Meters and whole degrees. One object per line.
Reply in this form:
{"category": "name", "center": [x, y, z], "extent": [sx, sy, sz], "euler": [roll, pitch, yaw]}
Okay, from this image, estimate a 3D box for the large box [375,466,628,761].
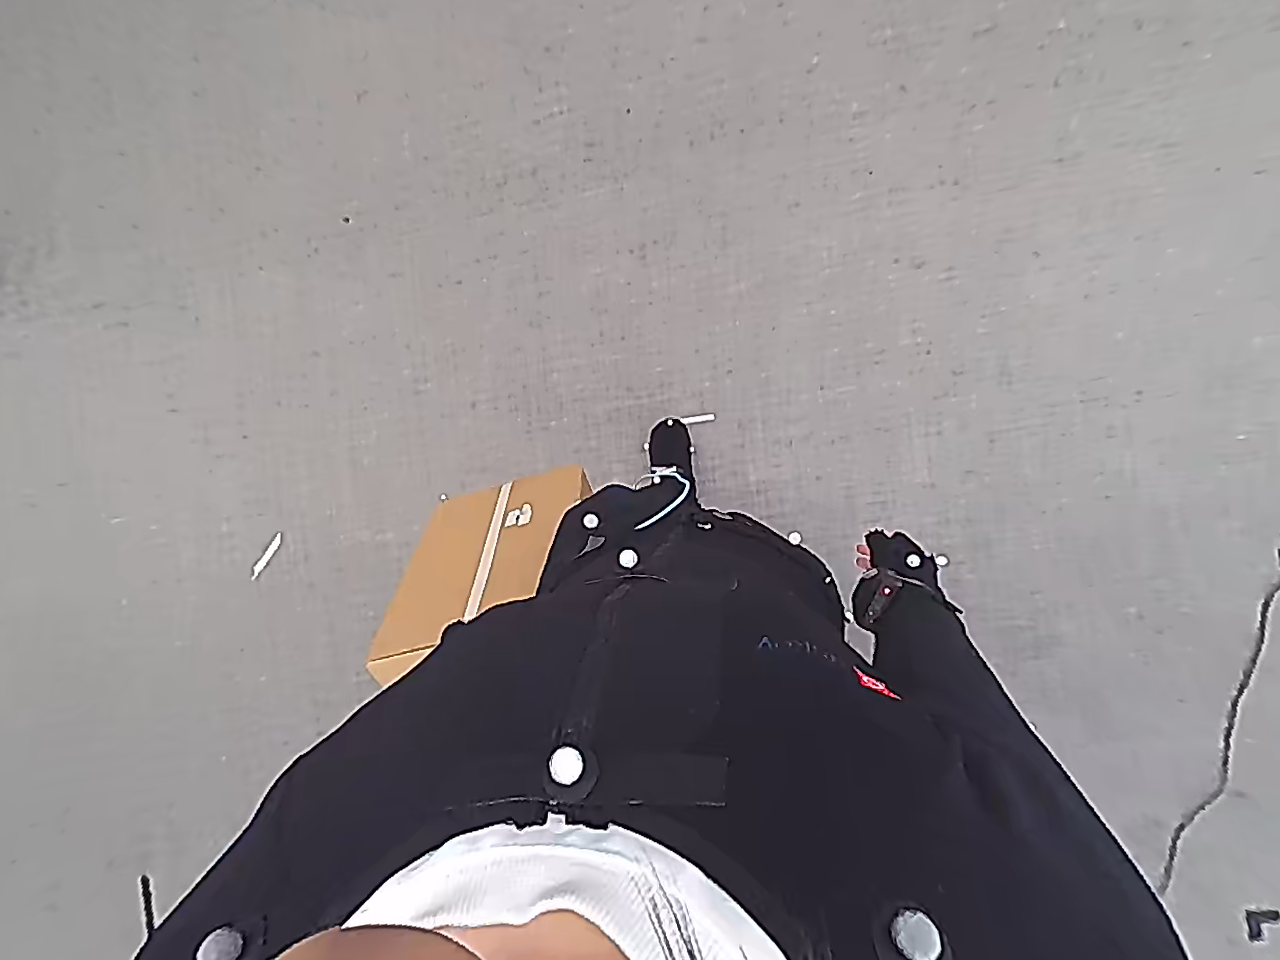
{"category": "large box", "center": [-0.215, 0.234, 1.018], "extent": [0.320, 0.408, 0.320], "euler": [-14, 122, 7]}
